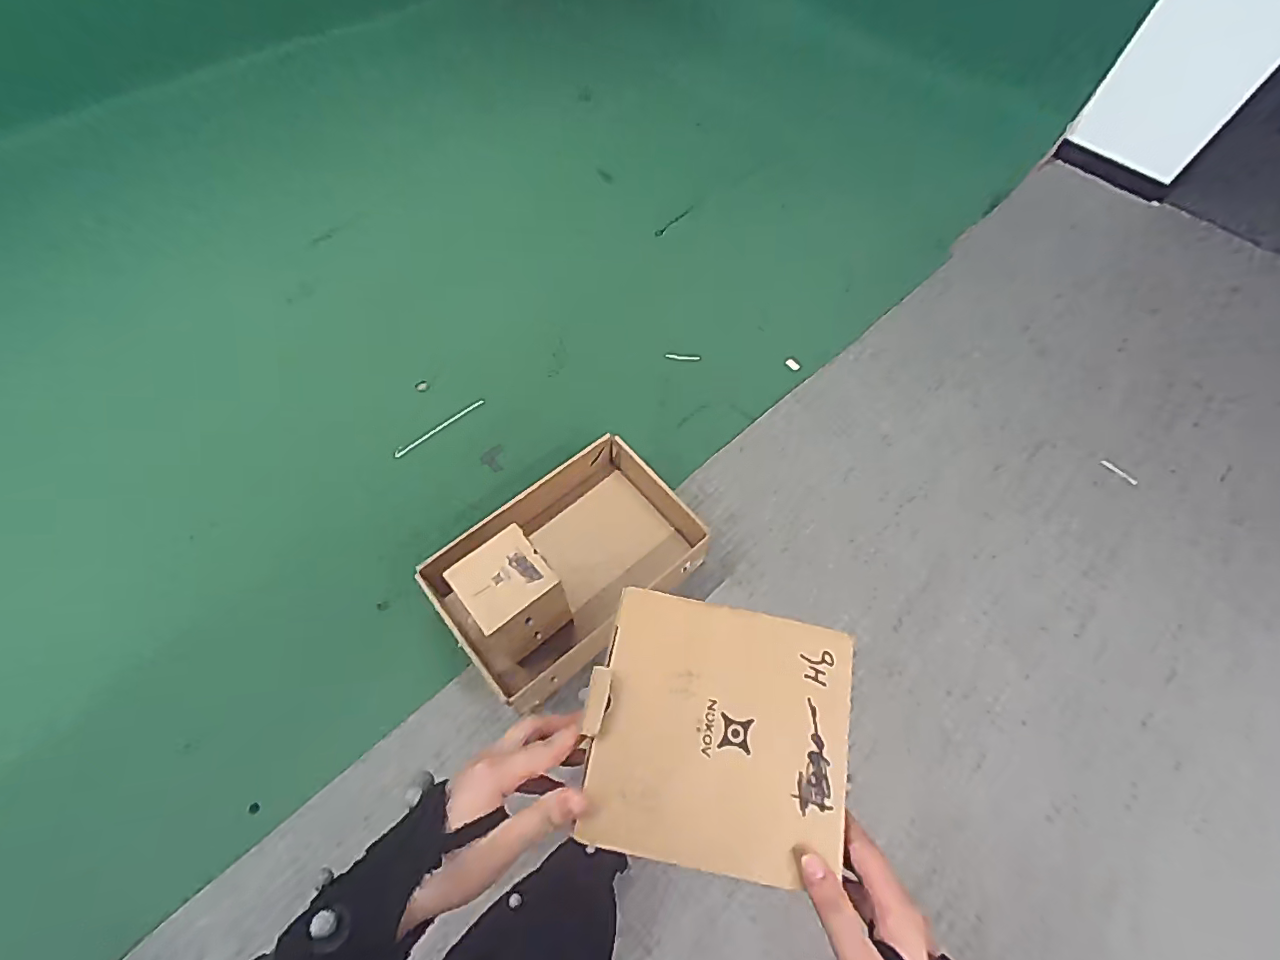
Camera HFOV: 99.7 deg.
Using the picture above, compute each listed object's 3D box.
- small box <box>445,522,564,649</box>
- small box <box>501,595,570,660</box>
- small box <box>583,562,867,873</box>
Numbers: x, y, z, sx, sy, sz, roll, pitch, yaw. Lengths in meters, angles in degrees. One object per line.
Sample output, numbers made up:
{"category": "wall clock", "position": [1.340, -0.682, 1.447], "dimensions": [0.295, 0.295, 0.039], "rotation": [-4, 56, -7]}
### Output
{"category": "small box", "position": [-0.273, 0.225, 1.135], "dimensions": [0.179, 0.176, 0.168], "rotation": [-36, 69, -19]}
{"category": "small box", "position": [-0.282, 0.301, 1.281], "dimensions": [0.179, 0.176, 0.168], "rotation": [-37, 70, -20]}
{"category": "small box", "position": [0.059, 0.183, 0.439], "dimensions": [0.179, 0.176, 0.168], "rotation": [13, 67, 0]}
